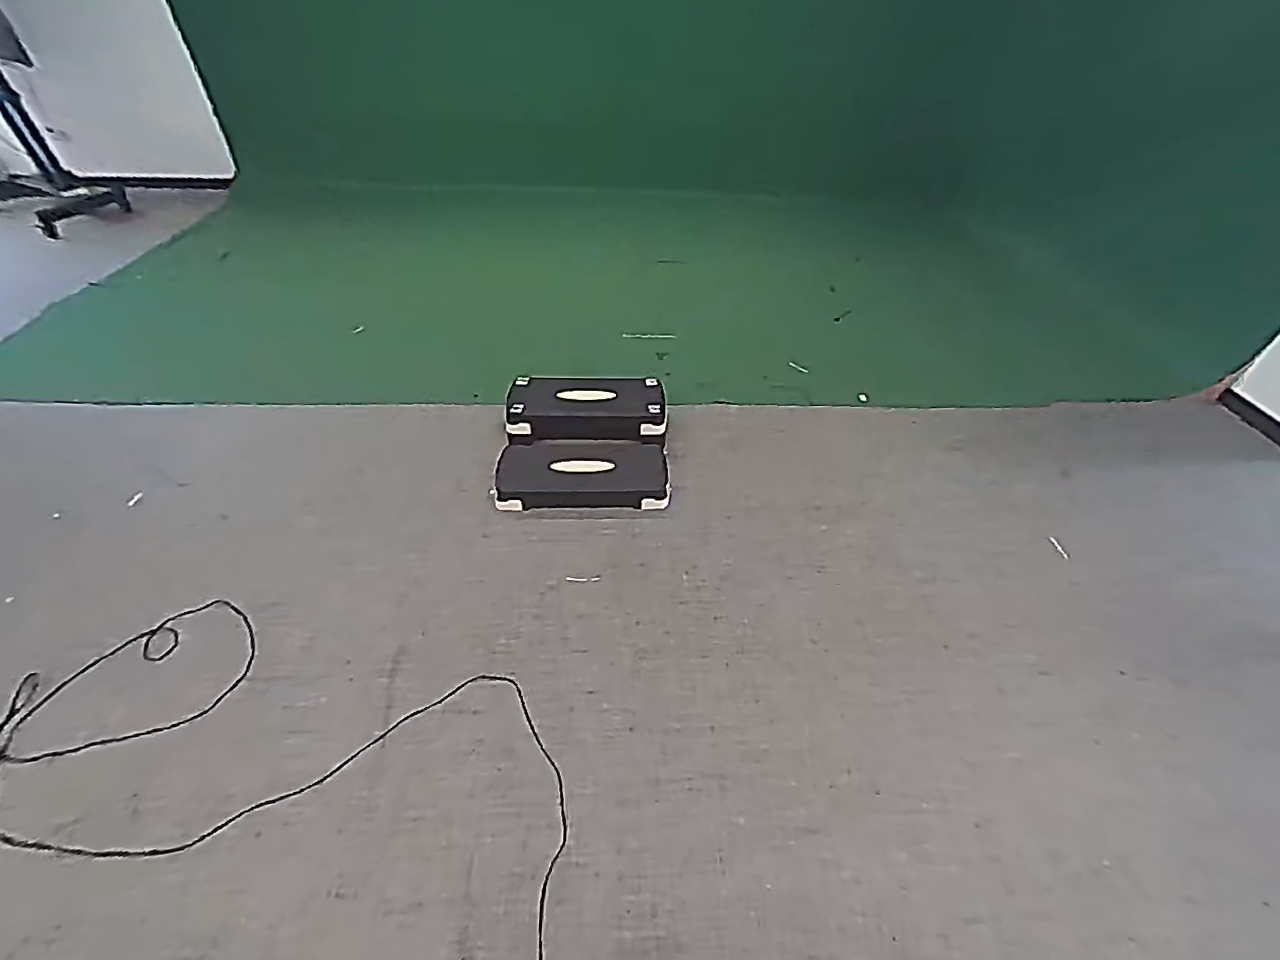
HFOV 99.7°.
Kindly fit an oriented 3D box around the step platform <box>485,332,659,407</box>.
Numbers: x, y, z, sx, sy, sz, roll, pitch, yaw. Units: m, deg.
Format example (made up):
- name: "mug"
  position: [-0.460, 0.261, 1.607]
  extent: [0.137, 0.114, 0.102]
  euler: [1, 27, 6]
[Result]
- name: "step platform"
  position: [-0.268, -0.452, 2.212]
  extent: [0.684, 0.204, 0.286]
  euler: [-1, 44, -3]
